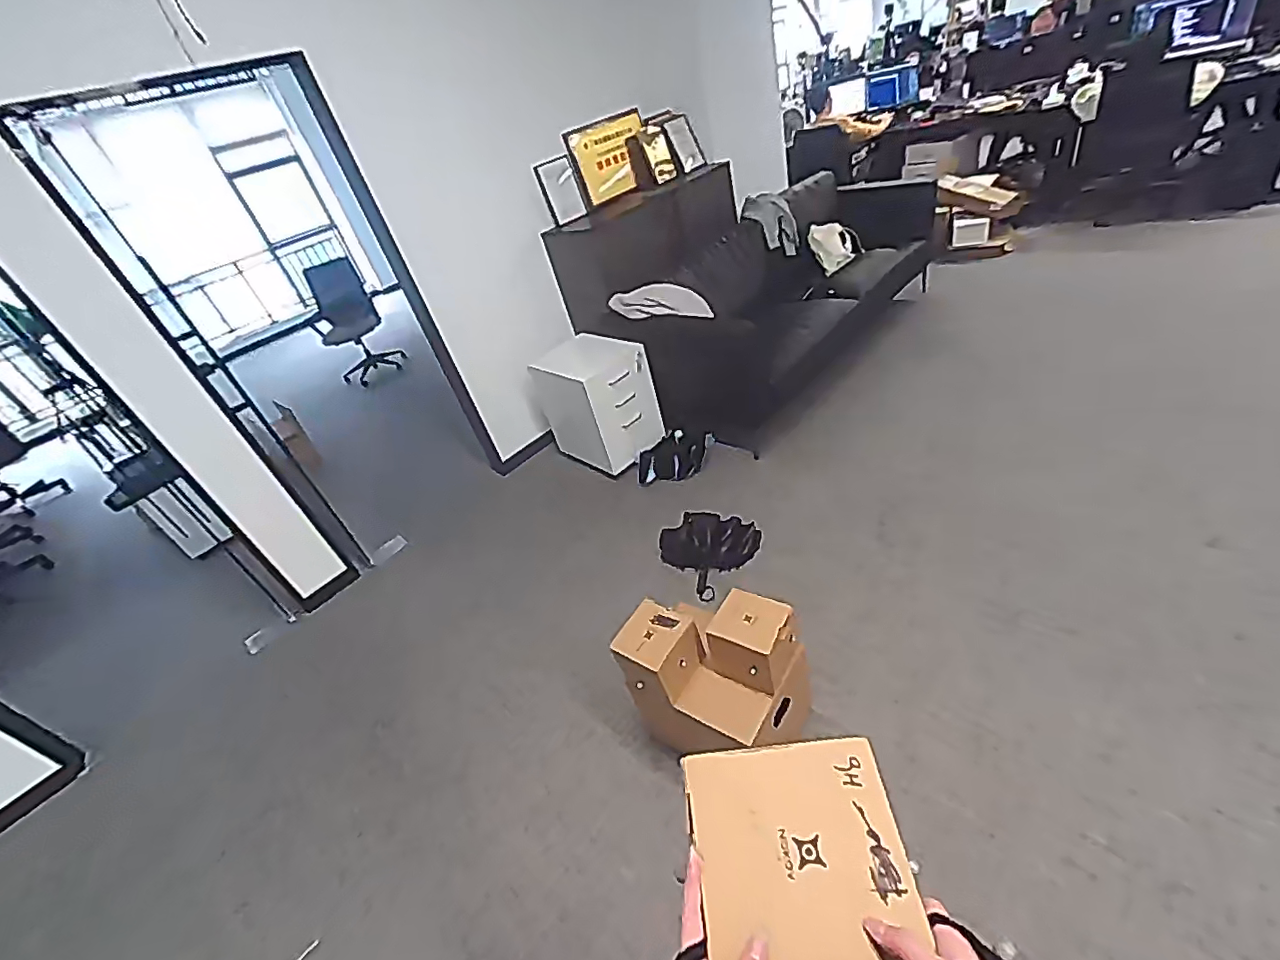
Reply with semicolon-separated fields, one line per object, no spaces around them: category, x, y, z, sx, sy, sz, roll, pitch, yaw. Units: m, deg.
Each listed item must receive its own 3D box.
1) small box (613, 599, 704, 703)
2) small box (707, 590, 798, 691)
small box;0.058;0.465;1.469;0.168;0.176;0.179;15;49;38
small box;0.301;0.423;1.420;0.179;0.176;0.168;10;40;36
